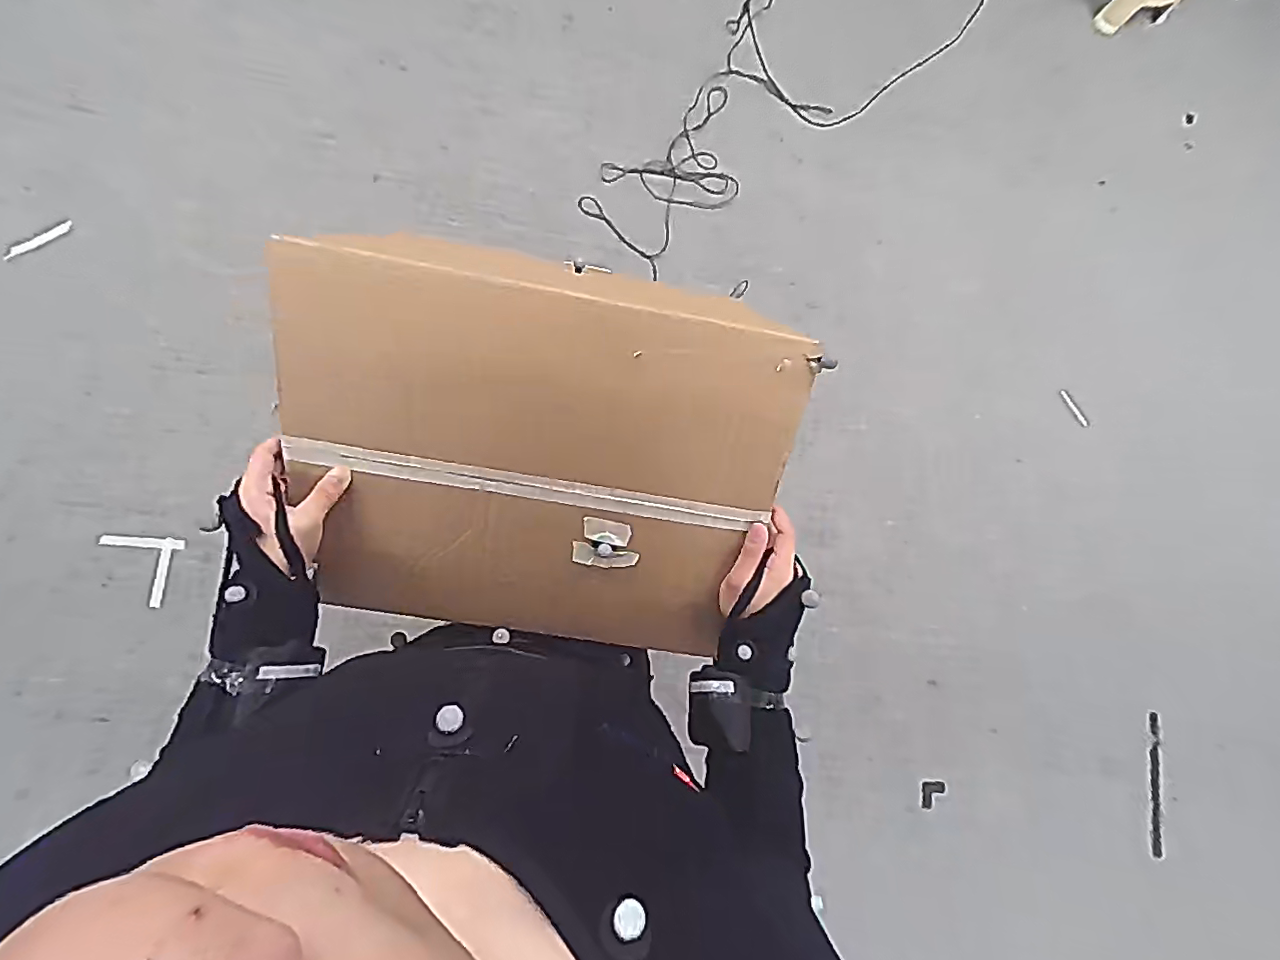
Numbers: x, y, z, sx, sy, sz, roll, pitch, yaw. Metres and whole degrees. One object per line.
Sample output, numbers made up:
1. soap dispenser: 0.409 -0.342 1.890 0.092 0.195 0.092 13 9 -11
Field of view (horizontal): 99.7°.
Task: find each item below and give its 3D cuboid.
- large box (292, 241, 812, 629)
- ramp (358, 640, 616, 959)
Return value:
1. large box: -0.089 -0.071 0.604 0.408 0.320 0.320 8 115 -6
2. ramp: -0.332 0.885 1.188 0.509 0.206 0.991 6 80 -8
